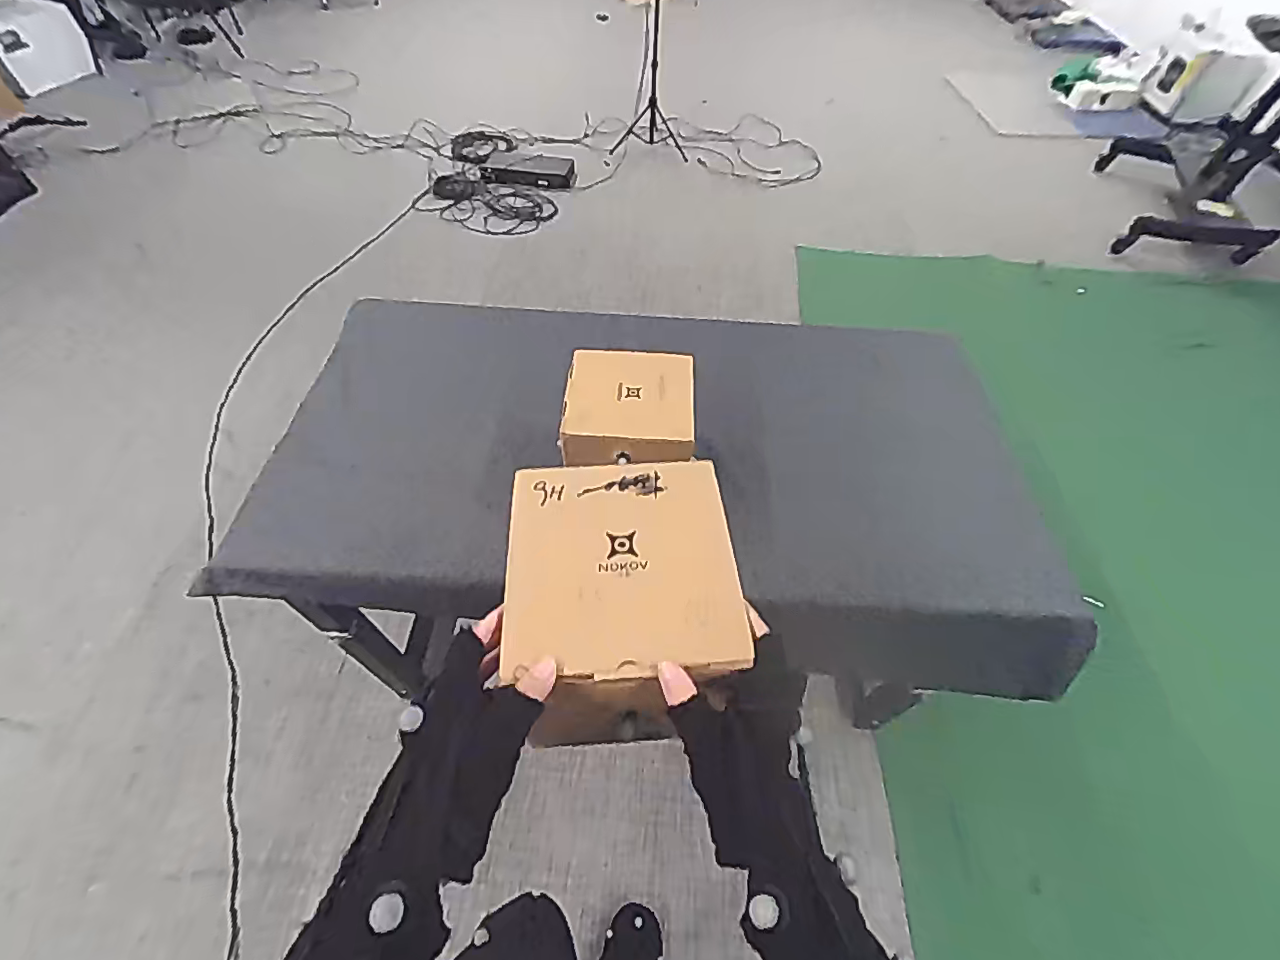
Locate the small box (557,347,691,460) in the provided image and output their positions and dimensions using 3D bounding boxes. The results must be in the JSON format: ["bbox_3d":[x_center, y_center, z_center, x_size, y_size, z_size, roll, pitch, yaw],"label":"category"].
[{"bbox_3d":[-0.020,-0.075,0.801,0.179,0.176,0.168,4,55,-1],"label":"small box"}]

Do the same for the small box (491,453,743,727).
[{"bbox_3d":[-0.020,0.099,0.456,0.168,0.176,0.179,-3,53,-4],"label":"small box"}]
